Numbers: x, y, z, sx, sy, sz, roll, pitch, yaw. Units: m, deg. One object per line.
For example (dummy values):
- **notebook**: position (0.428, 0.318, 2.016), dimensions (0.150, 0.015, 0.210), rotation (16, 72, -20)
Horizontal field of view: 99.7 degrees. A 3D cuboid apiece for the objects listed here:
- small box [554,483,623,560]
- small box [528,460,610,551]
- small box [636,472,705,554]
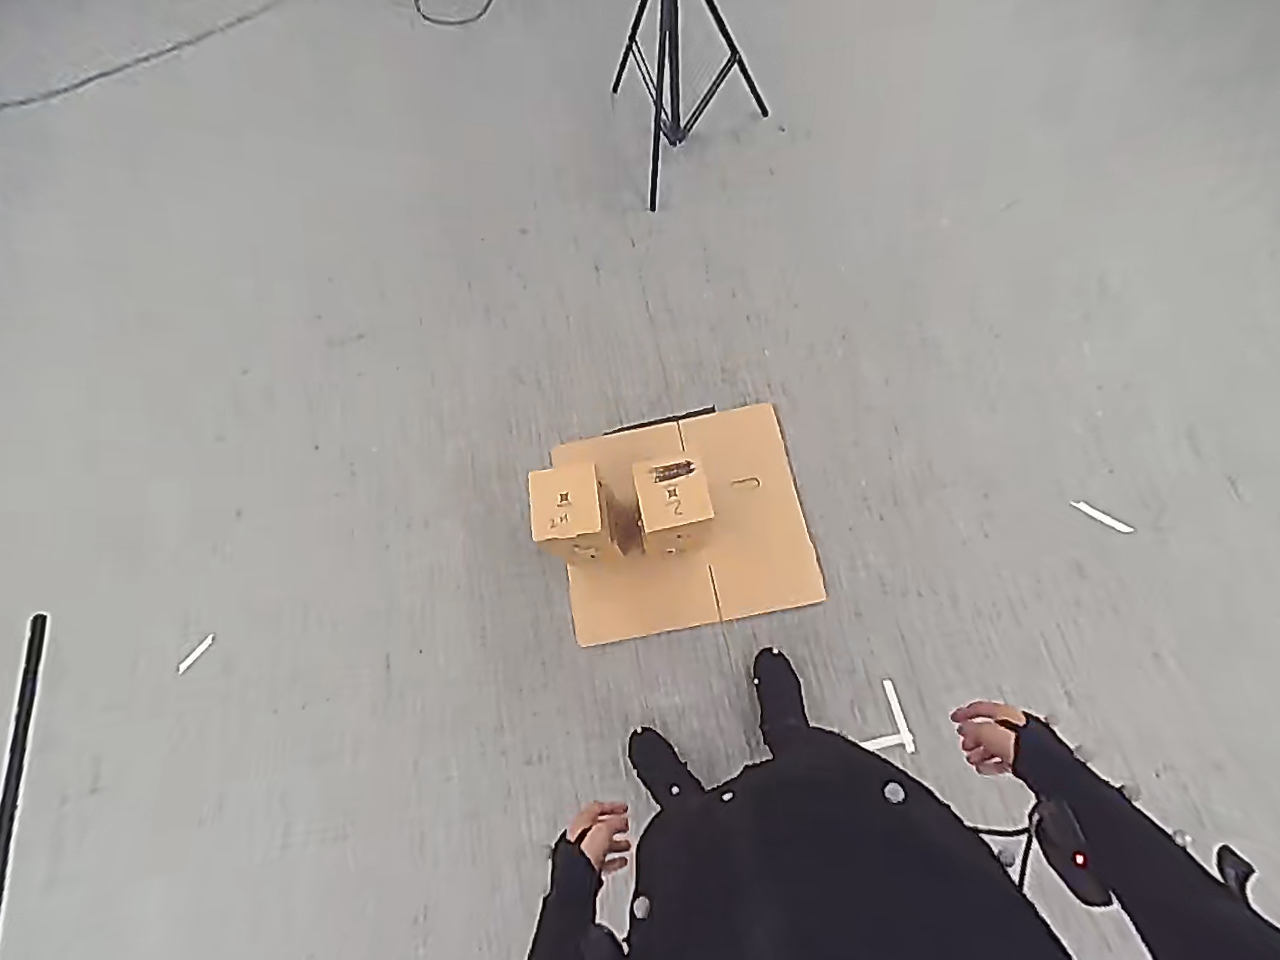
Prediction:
- **small box**: position (-0.146, 0.122, 1.495), dimensions (0.168, 0.176, 0.179), rotation (-9, 73, 3)
- **small box**: position (-0.172, 0.068, 1.341), dimensions (0.168, 0.176, 0.179), rotation (-9, 72, 3)
- **small box**: position (0.082, 0.095, 1.482), dimensions (0.168, 0.176, 0.179), rotation (-8, 72, 3)
